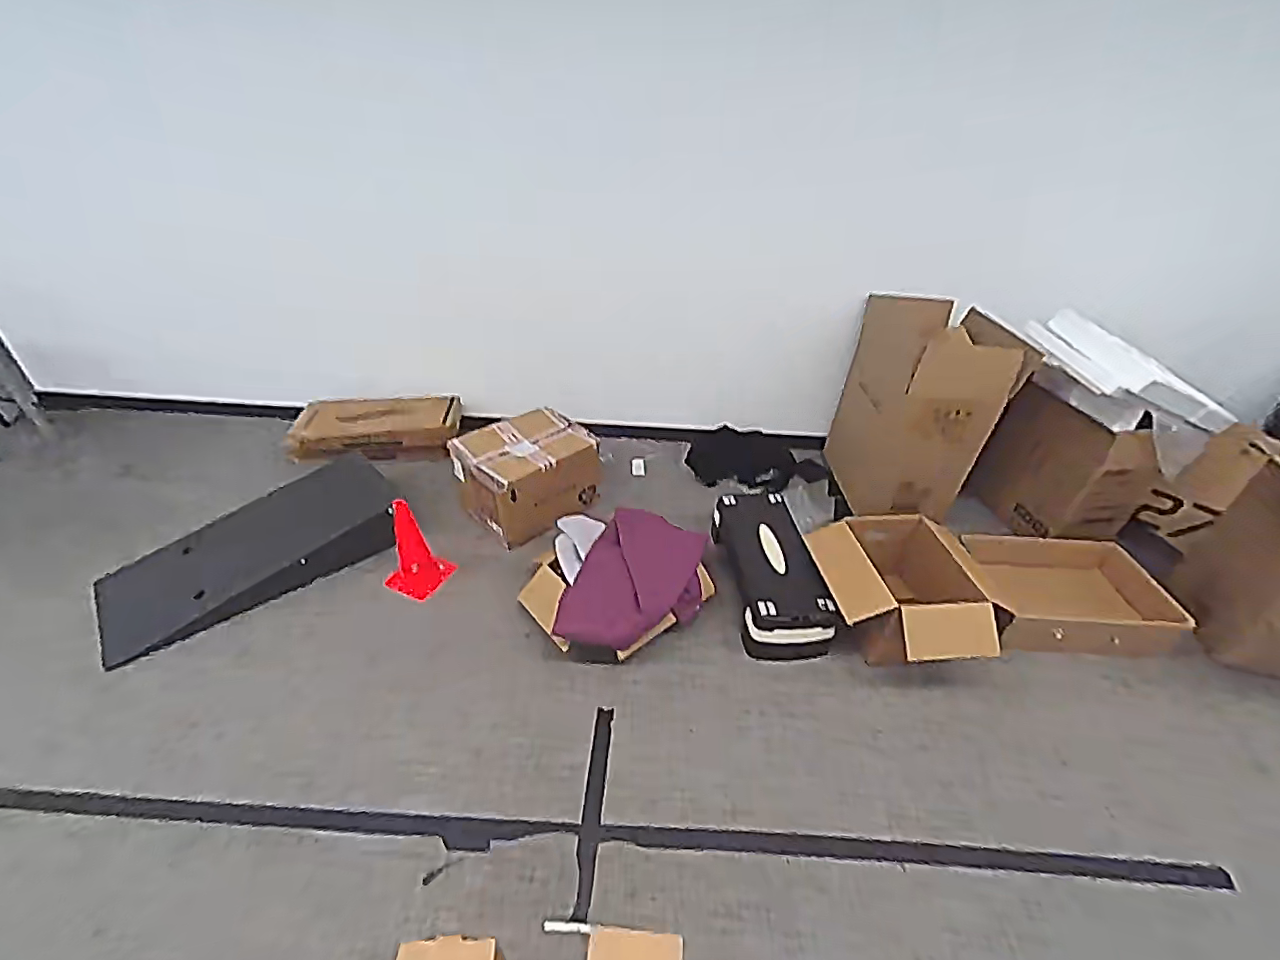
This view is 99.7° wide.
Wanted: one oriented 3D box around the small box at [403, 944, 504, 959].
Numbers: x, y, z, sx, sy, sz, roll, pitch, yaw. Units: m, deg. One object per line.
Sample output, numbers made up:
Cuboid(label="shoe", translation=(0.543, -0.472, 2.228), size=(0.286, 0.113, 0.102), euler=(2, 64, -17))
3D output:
Cuboid(label="small box", translation=(-0.323, 0.919, 0.911), size=(0.168, 0.176, 0.179), euler=(-1, 37, -1))

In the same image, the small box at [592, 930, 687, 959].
Cuboid(label="small box", translation=(-0.010, 0.917, 0.928), size=(0.168, 0.176, 0.179), euler=(4, 36, 3))
